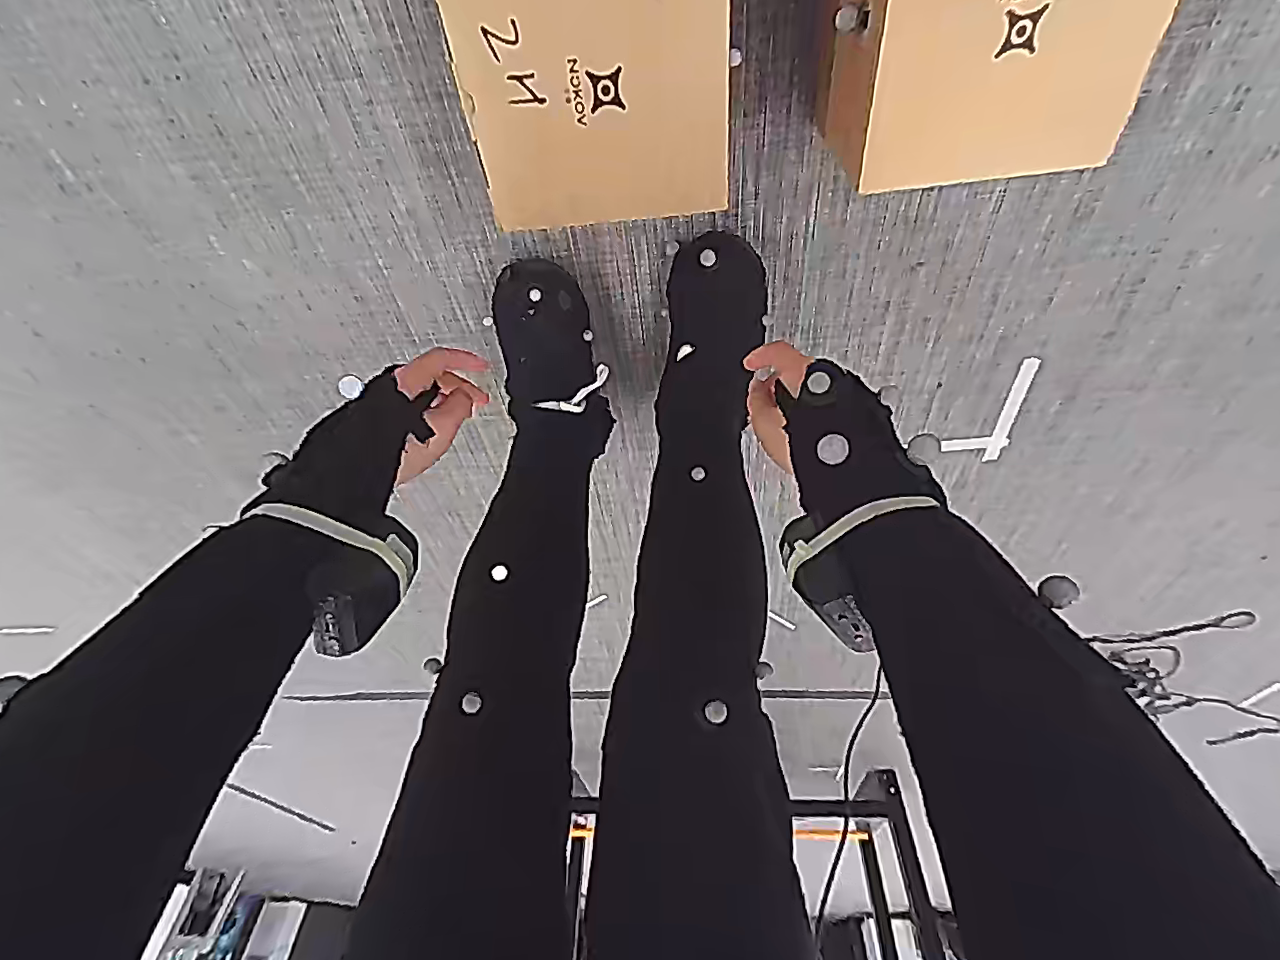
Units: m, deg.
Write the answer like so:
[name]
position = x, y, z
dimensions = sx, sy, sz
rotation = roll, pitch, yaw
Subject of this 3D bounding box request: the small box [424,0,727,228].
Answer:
[small box]
position = -0.033, -0.307, 0.394
dimensions = 0.179, 0.176, 0.168
rotation = -3, 136, 5
